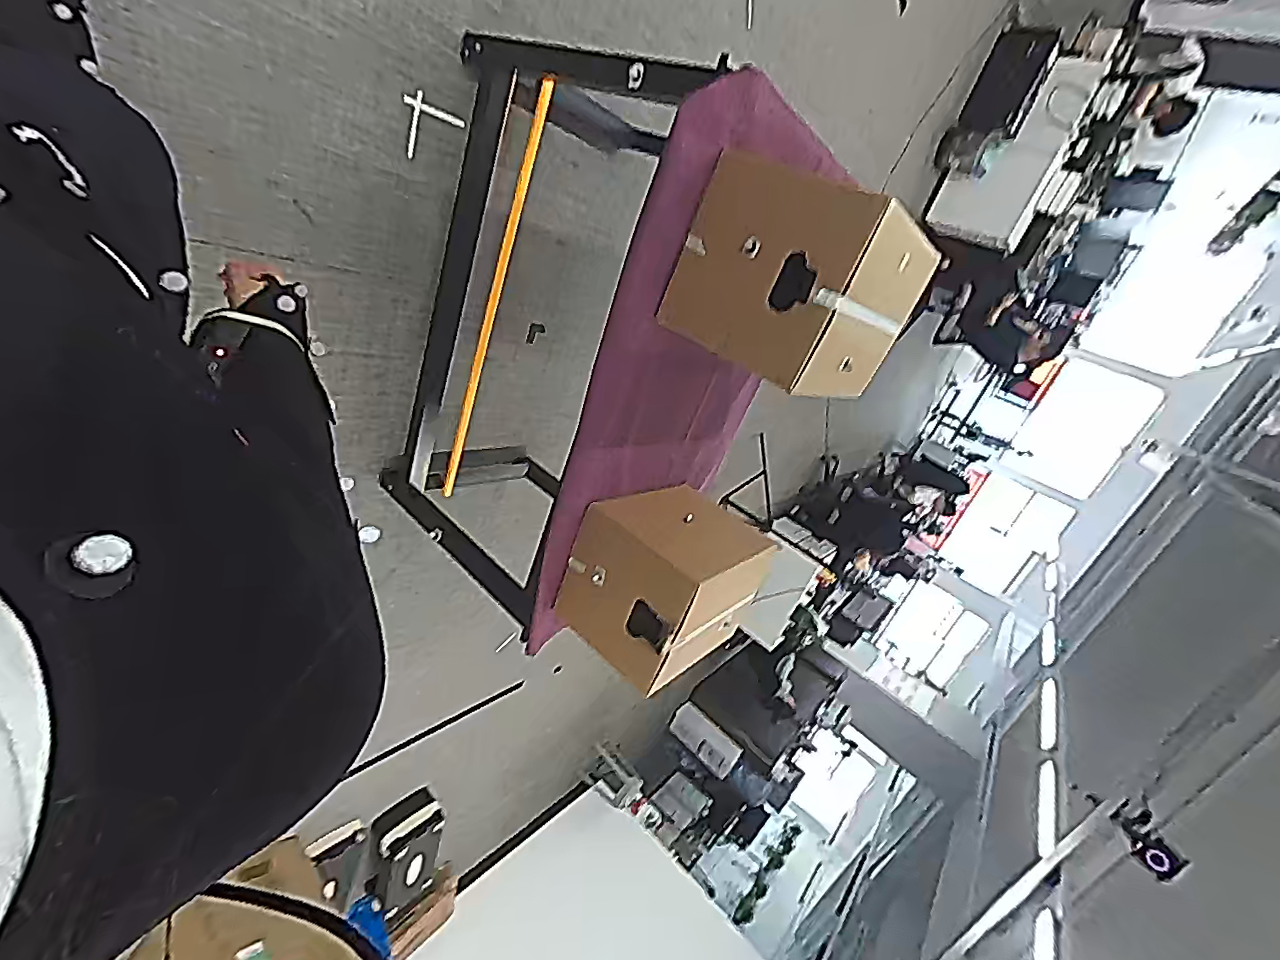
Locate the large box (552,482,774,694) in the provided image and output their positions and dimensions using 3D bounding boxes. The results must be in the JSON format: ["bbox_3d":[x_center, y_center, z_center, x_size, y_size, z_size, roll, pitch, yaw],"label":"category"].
[{"bbox_3d":[0.058,0.227,1.312,0.408,0.320,0.320,-12,130,-54],"label":"large box"}]
